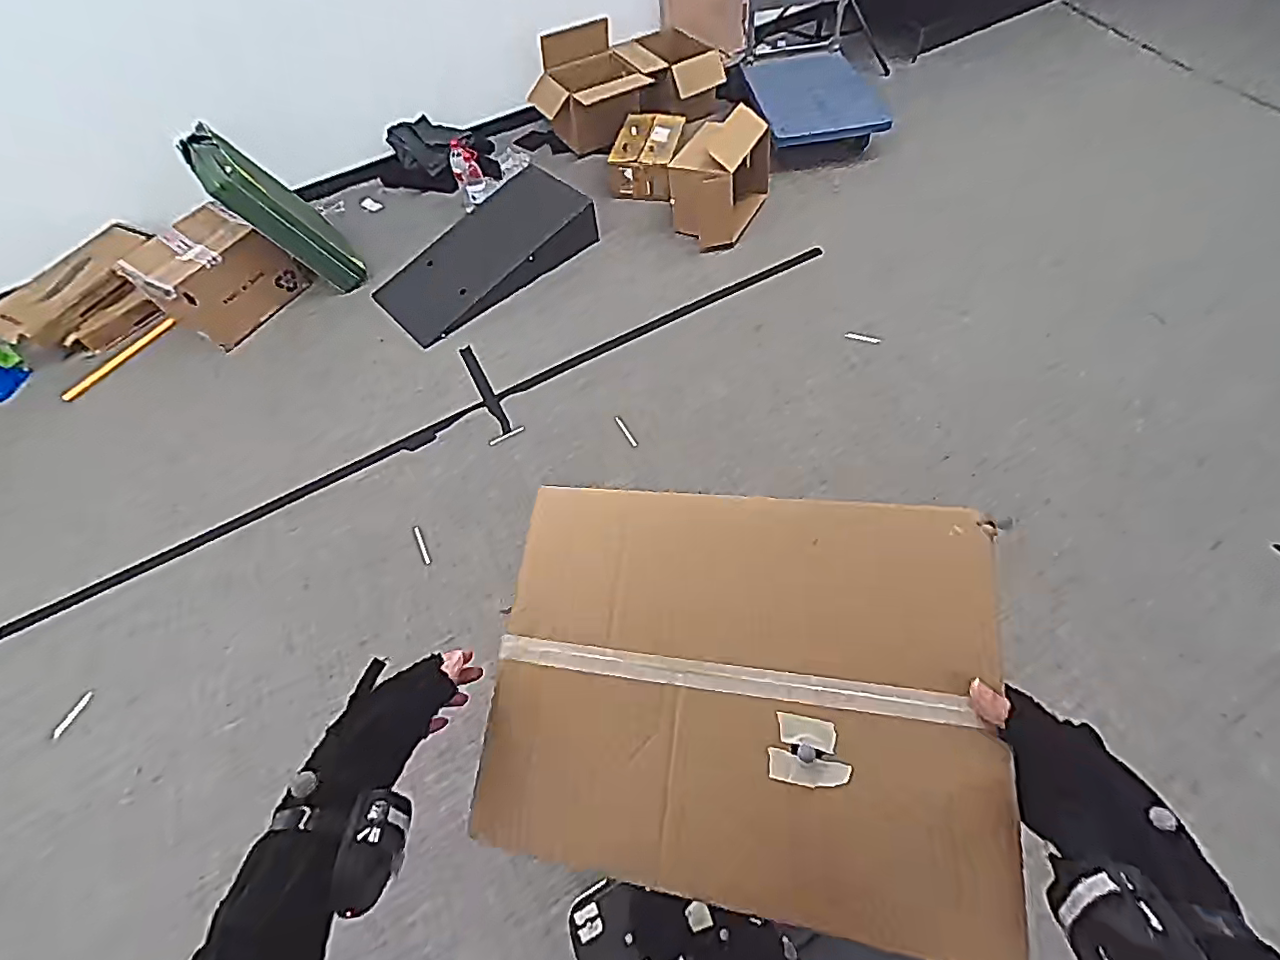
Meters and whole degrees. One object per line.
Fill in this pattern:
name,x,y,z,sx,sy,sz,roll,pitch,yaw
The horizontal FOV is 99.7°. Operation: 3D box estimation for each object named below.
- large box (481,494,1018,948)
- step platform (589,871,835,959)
large box,0.105,0.214,0.586,0.408,0.320,0.320,2,71,15
step platform,0.231,0.879,1.204,0.684,0.204,0.286,-28,60,-12
